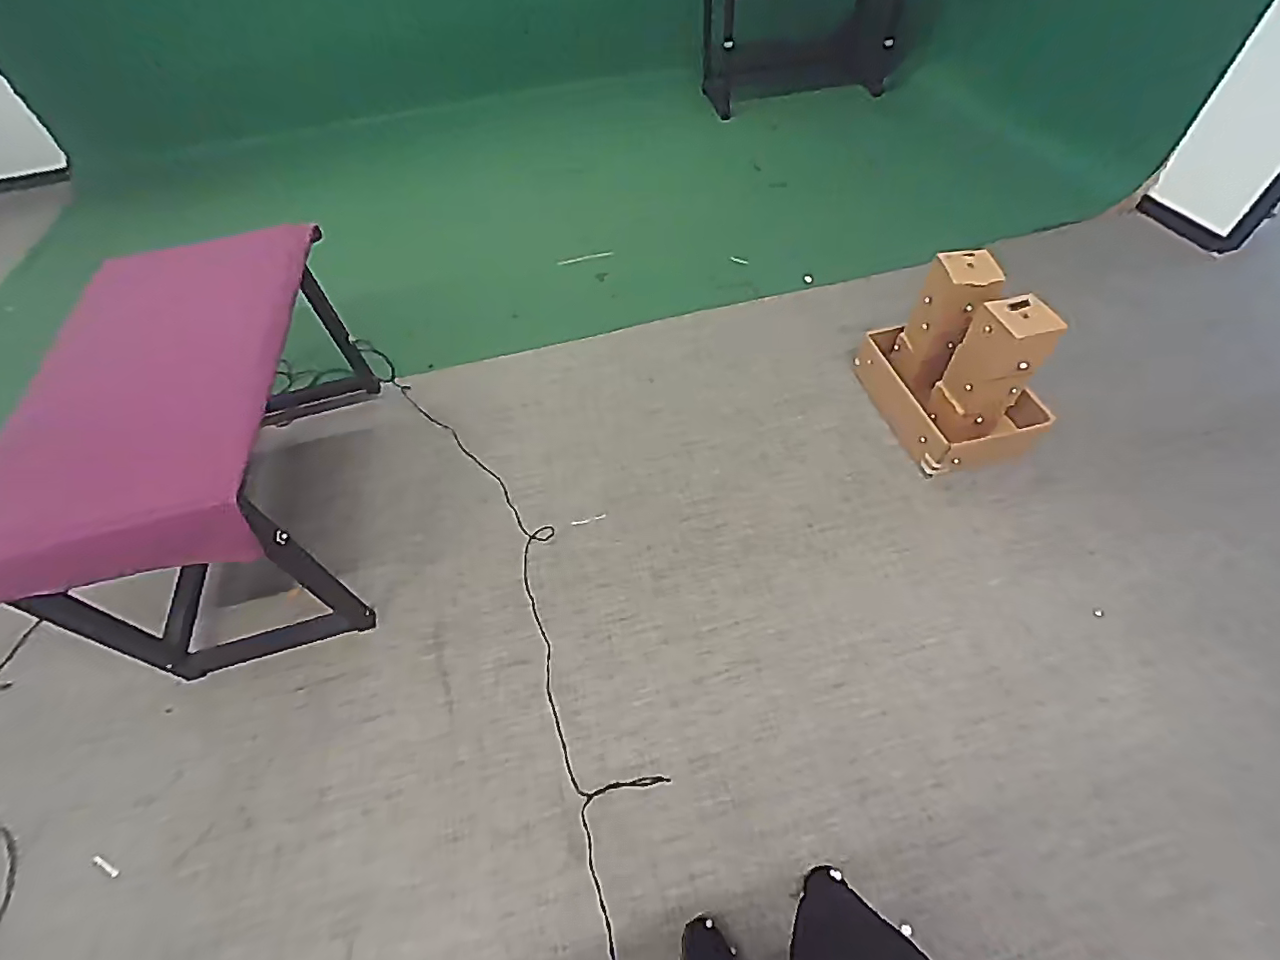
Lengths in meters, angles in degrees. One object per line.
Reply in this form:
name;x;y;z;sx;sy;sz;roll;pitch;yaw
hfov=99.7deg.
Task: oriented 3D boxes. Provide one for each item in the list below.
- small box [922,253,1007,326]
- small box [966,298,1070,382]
small box;1.086;-0.634;1.823;0.168;0.176;0.179;-2;55;2
small box;1.154;-0.431;1.670;0.168;0.176;0.179;-12;53;-3
